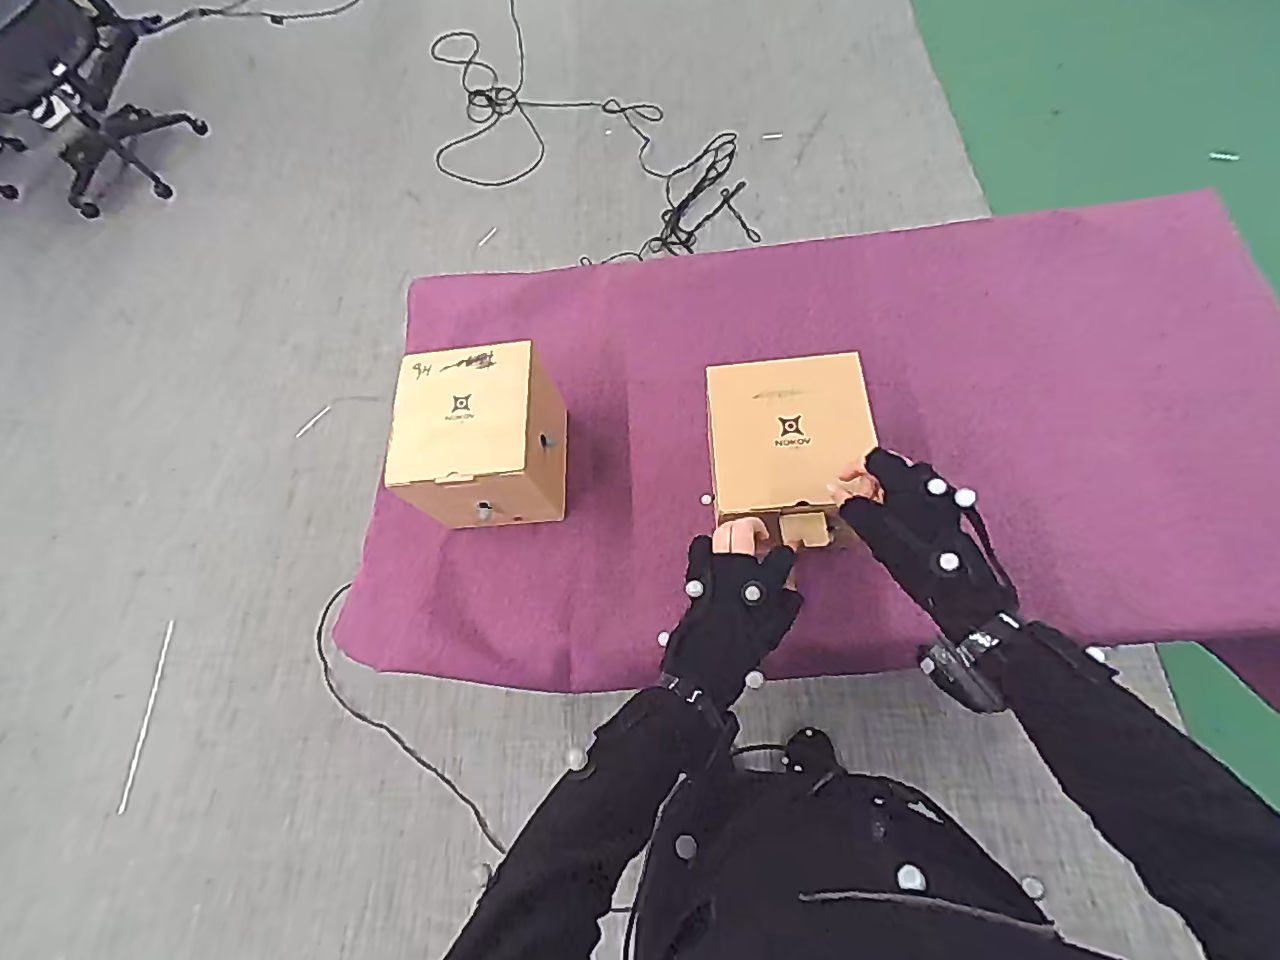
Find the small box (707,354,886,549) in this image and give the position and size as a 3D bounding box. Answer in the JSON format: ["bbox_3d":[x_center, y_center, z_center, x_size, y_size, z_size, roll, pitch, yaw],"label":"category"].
[{"bbox_3d":[0.168,-0.021,0.634,0.168,0.176,0.179,-4,67,6],"label":"small box"}]

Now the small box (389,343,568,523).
[{"bbox_3d":[-0.194,-0.049,0.699,0.168,0.176,0.179,-5,68,6],"label":"small box"}]
